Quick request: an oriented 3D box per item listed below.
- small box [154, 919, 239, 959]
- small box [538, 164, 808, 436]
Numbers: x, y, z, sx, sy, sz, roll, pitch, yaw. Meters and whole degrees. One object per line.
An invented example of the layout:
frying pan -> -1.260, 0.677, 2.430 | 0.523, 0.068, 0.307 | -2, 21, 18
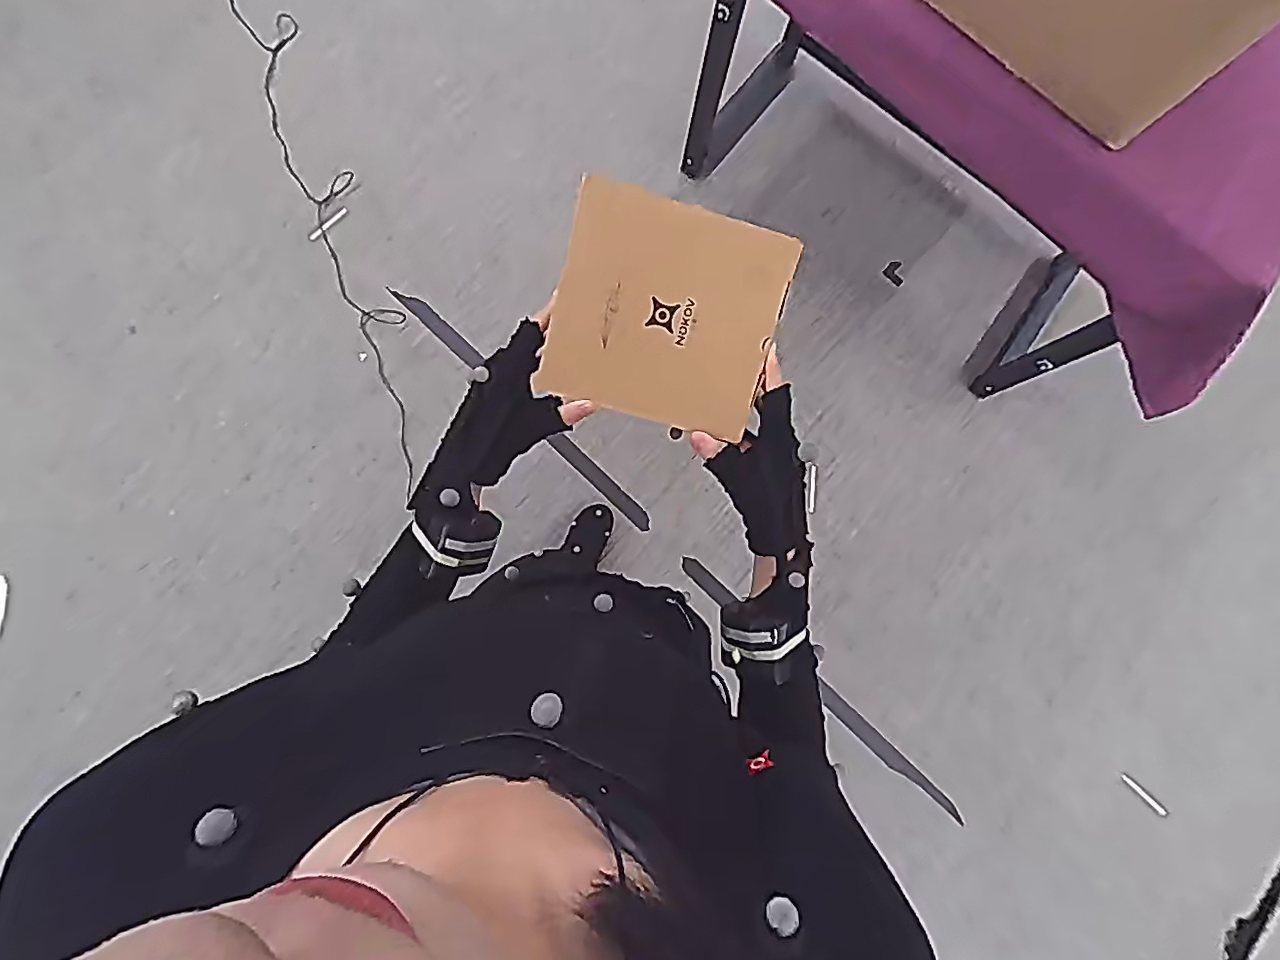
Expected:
small box -> -1.032, 1.135, 1.188 | 0.179, 0.176, 0.168 | -44, 90, -10
small box -> 0.020, -0.148, 0.491 | 0.179, 0.176, 0.168 | 14, 99, -5
